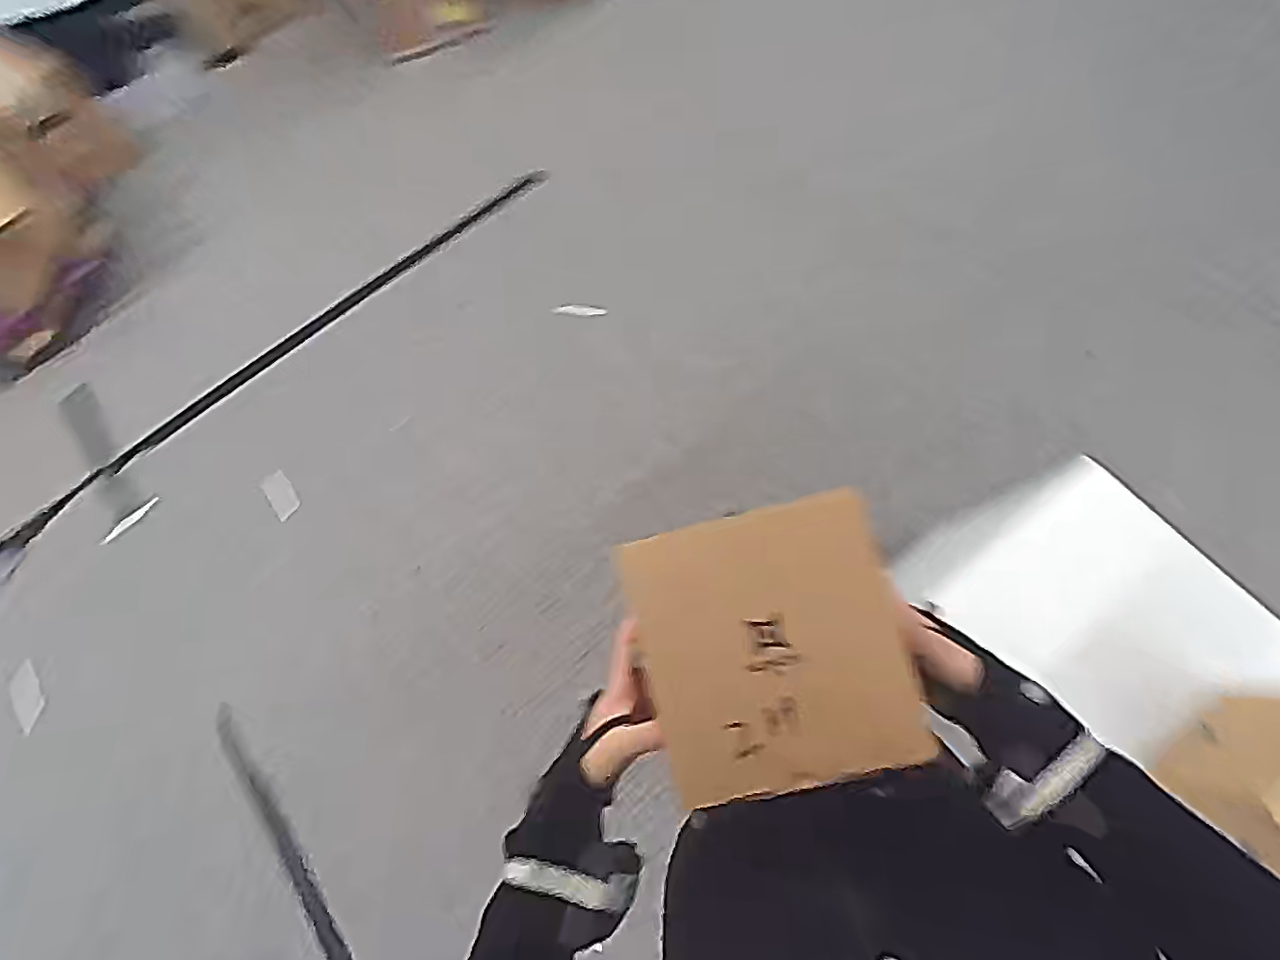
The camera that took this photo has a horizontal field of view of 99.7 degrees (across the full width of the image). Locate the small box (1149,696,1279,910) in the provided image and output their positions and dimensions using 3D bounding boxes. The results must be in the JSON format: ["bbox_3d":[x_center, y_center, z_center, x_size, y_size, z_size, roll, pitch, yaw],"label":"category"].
[{"bbox_3d":[0.728,0.360,0.590,0.179,0.176,0.168,-35,73,-6],"label":"small box"}]

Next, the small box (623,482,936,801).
[{"bbox_3d":[0.093,0.113,0.427,0.168,0.176,0.179,-14,81,6],"label":"small box"}]
